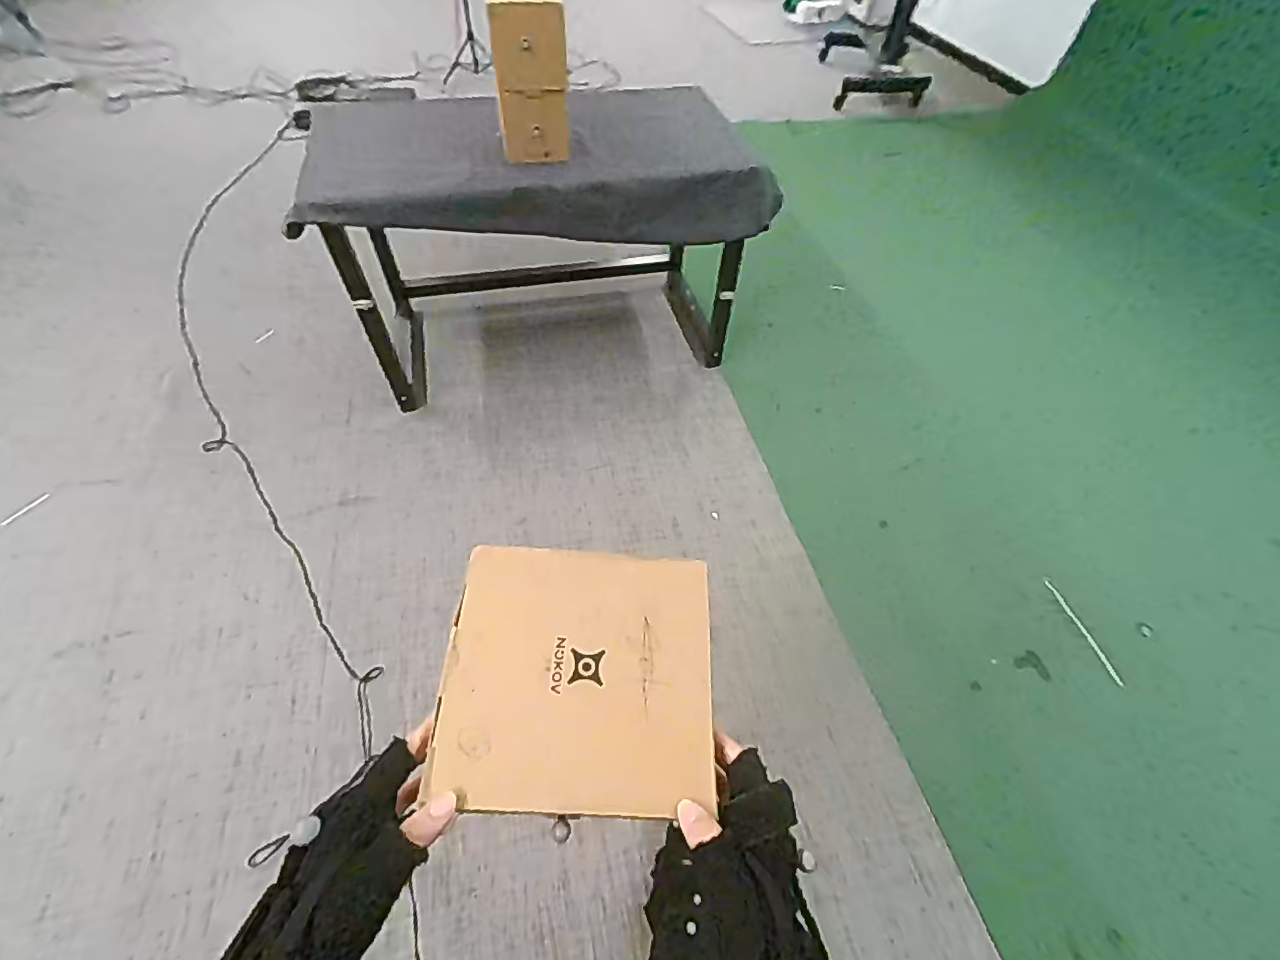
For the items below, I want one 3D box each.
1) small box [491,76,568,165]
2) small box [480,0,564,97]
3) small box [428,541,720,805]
[{"bbox_3d":[-0.292,-0.961,1.442,0.168,0.176,0.179,-11,55,-10],"label":"small box"},{"bbox_3d":[-0.280,-1.055,1.307,0.179,0.176,0.168,-9,53,-7],"label":"small box"},{"bbox_3d":[-0.043,0.160,0.428,0.179,0.176,0.168,3,59,-5],"label":"small box"}]
